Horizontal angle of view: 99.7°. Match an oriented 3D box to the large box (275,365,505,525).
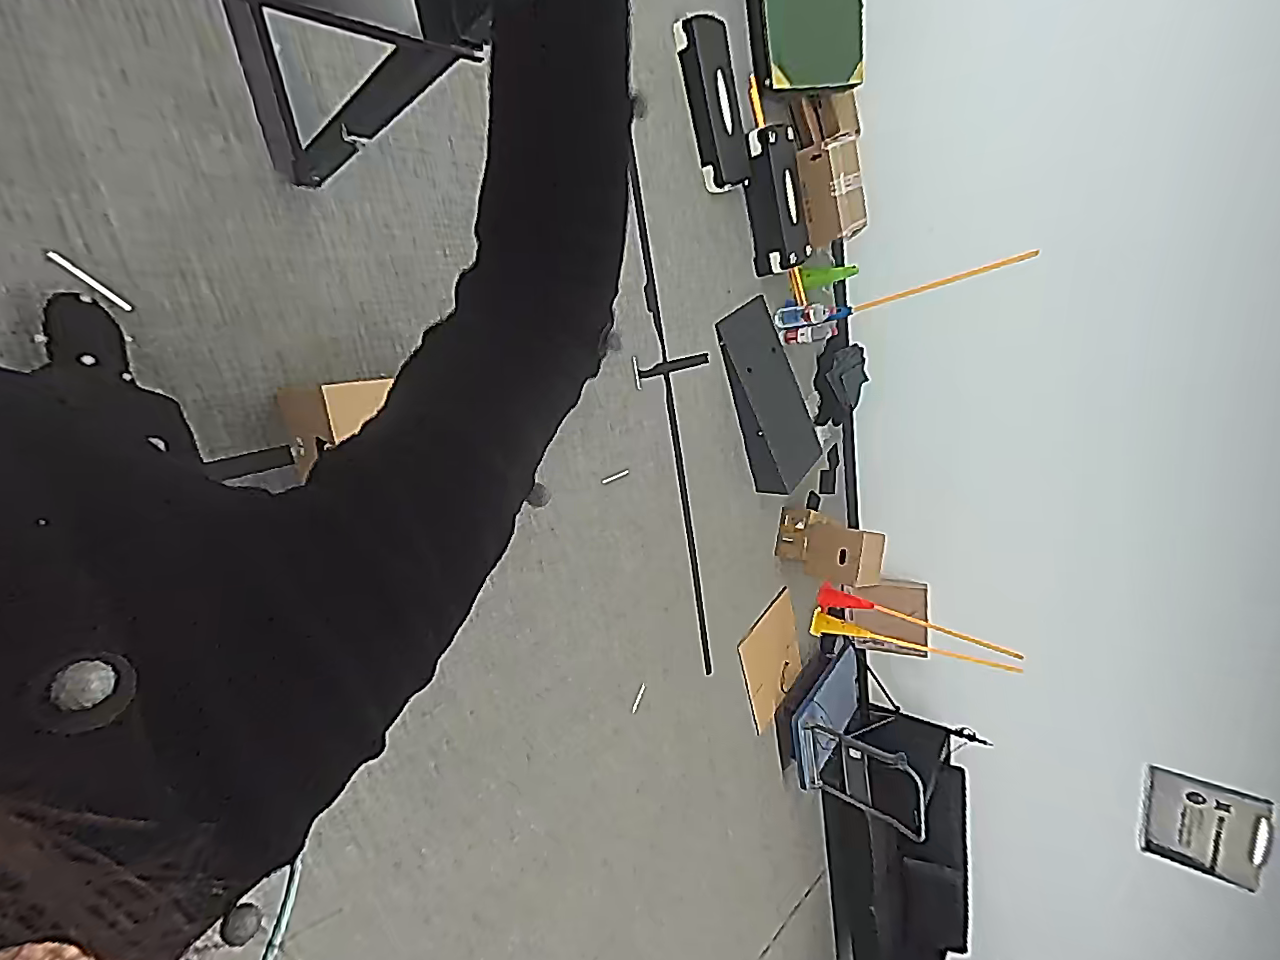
[{"bbox_3d":[-0.621,-0.105,1.375,0.408,0.320,0.320,-20,110,-46],"label":"large box"}]
